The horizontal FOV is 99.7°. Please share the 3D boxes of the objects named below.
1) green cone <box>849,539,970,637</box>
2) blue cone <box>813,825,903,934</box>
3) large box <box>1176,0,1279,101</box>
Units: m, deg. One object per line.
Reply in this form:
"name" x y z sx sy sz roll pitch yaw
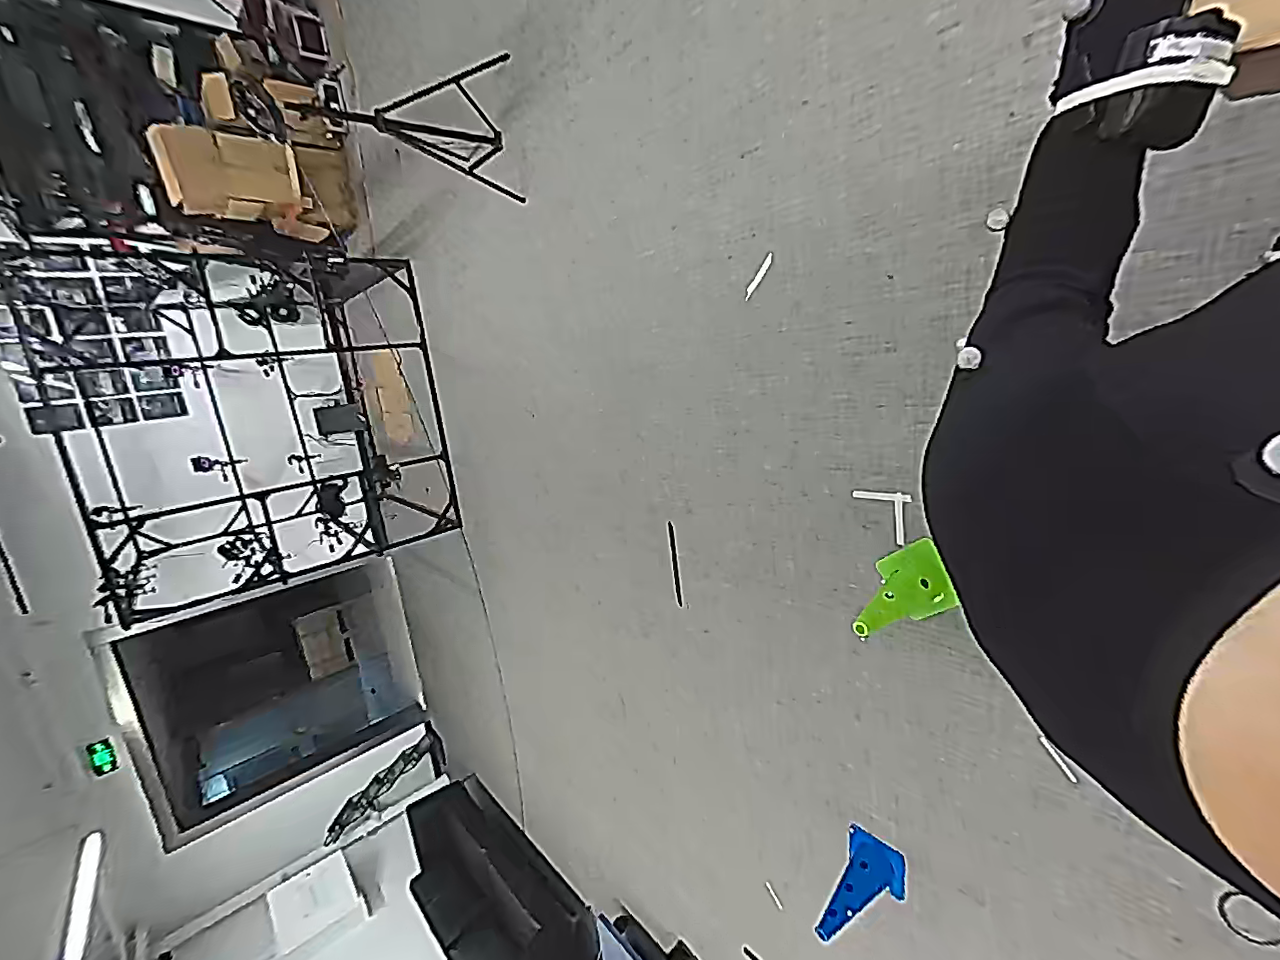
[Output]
"green cone" 0.679 0.326 1.453 0.200 0.368 0.202 60 142 17
"blue cone" 0.718 1.392 1.830 0.192 0.380 0.193 14 114 49
"large box" 0.581 -0.422 0.251 0.408 0.320 0.320 20 124 45
